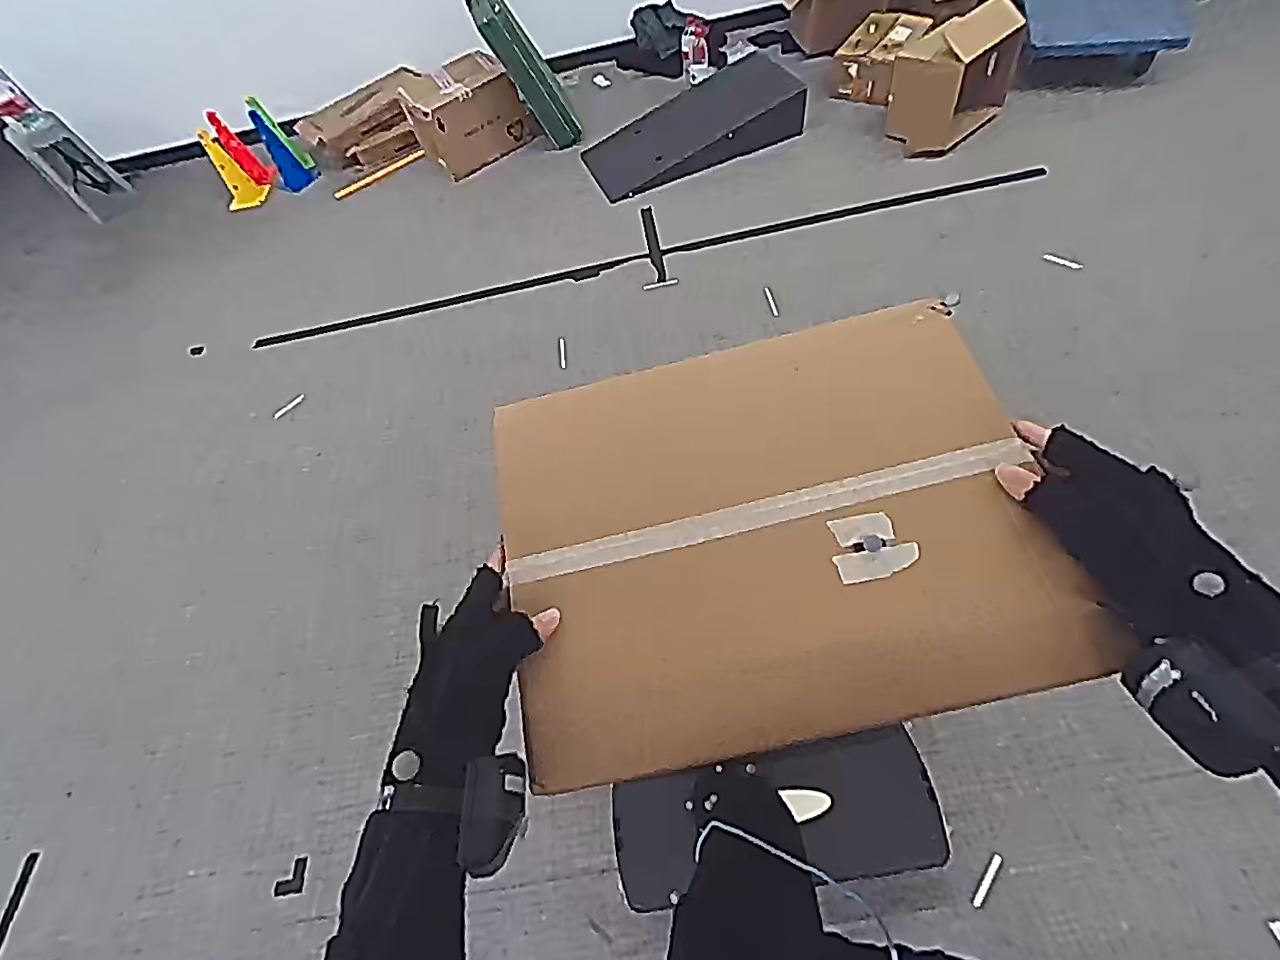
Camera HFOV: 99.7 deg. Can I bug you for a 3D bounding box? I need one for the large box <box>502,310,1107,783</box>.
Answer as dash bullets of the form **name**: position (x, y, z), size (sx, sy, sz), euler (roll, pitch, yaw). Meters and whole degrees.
- **large box**: position (0.113, 0.089, 0.566), size (0.408, 0.320, 0.320), euler (-14, 65, 3)
